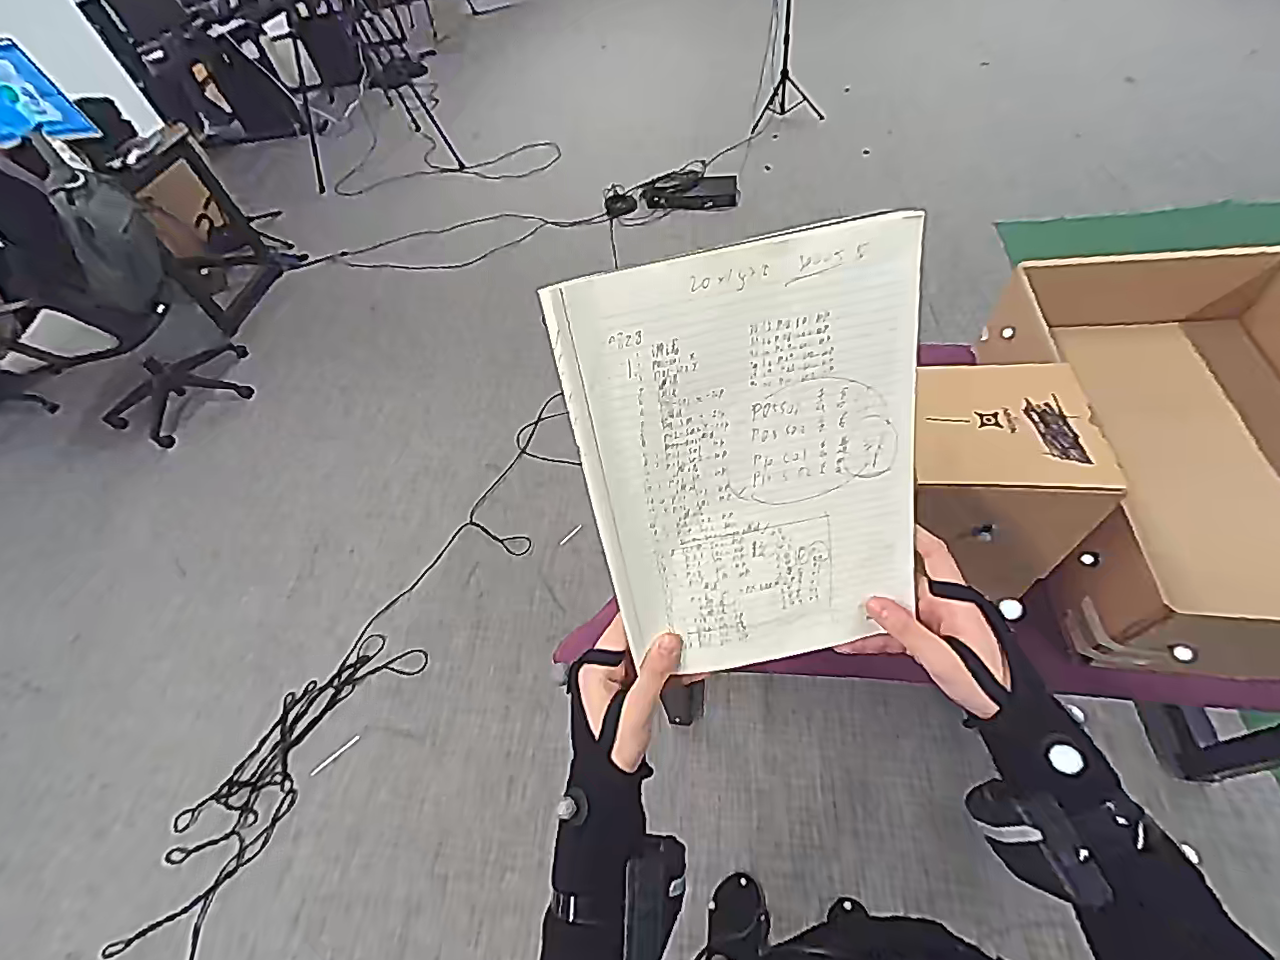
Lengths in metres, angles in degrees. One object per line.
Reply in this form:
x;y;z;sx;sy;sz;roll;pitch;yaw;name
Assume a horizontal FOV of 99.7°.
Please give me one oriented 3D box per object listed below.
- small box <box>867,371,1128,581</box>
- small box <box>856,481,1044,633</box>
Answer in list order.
0.365;-0.001;0.597;0.179;0.176;0.168;2;52;12;small box
0.397;0.091;0.730;0.168;0.176;0.179;2;52;11;small box
